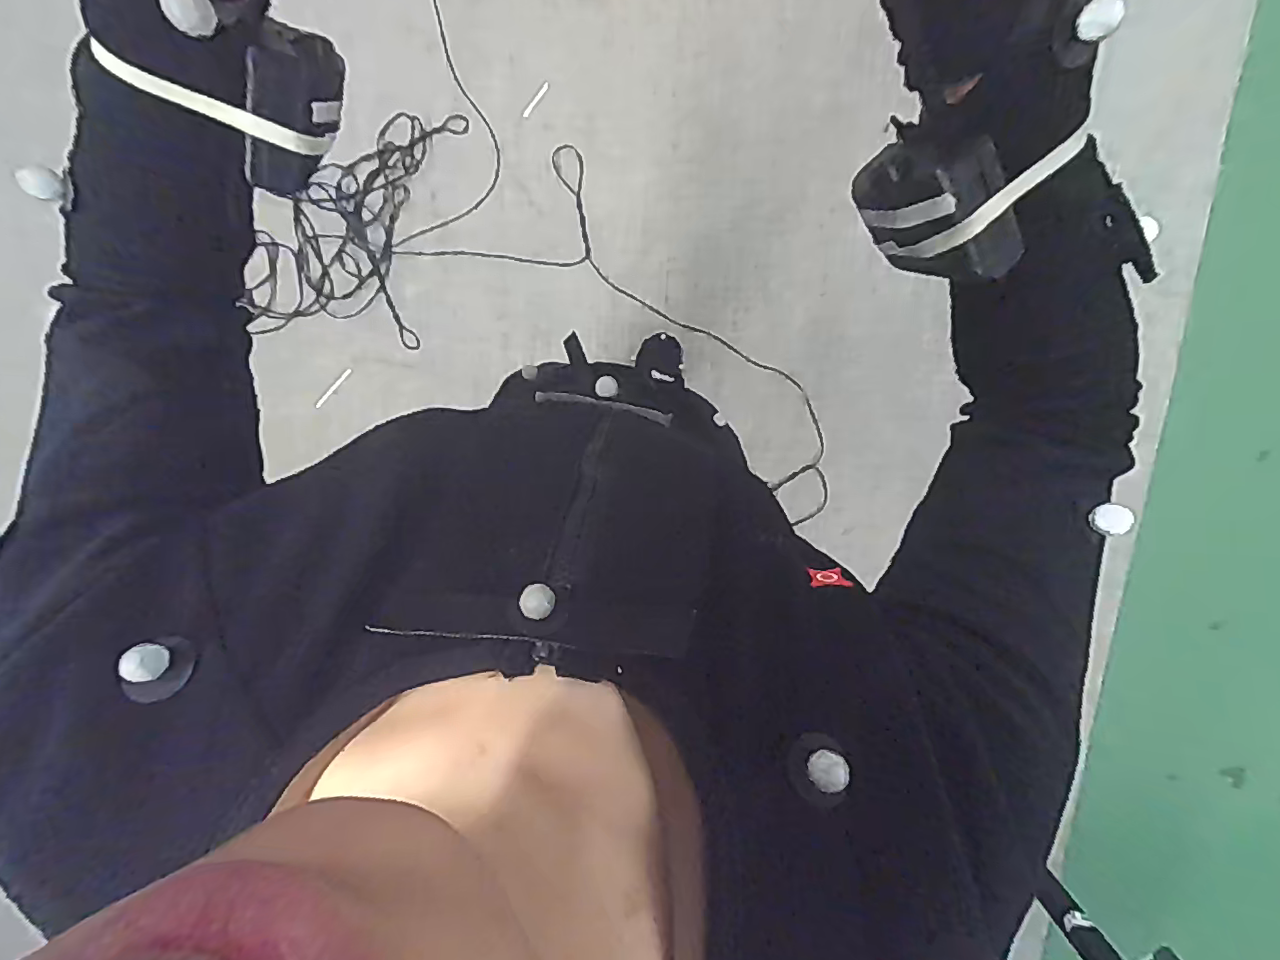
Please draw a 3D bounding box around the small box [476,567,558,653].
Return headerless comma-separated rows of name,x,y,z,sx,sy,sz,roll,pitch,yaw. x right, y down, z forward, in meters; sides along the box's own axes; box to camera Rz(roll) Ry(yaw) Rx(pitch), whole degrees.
small box,-0.332,0.350,1.482,0.179,0.176,0.168,7,102,-1
